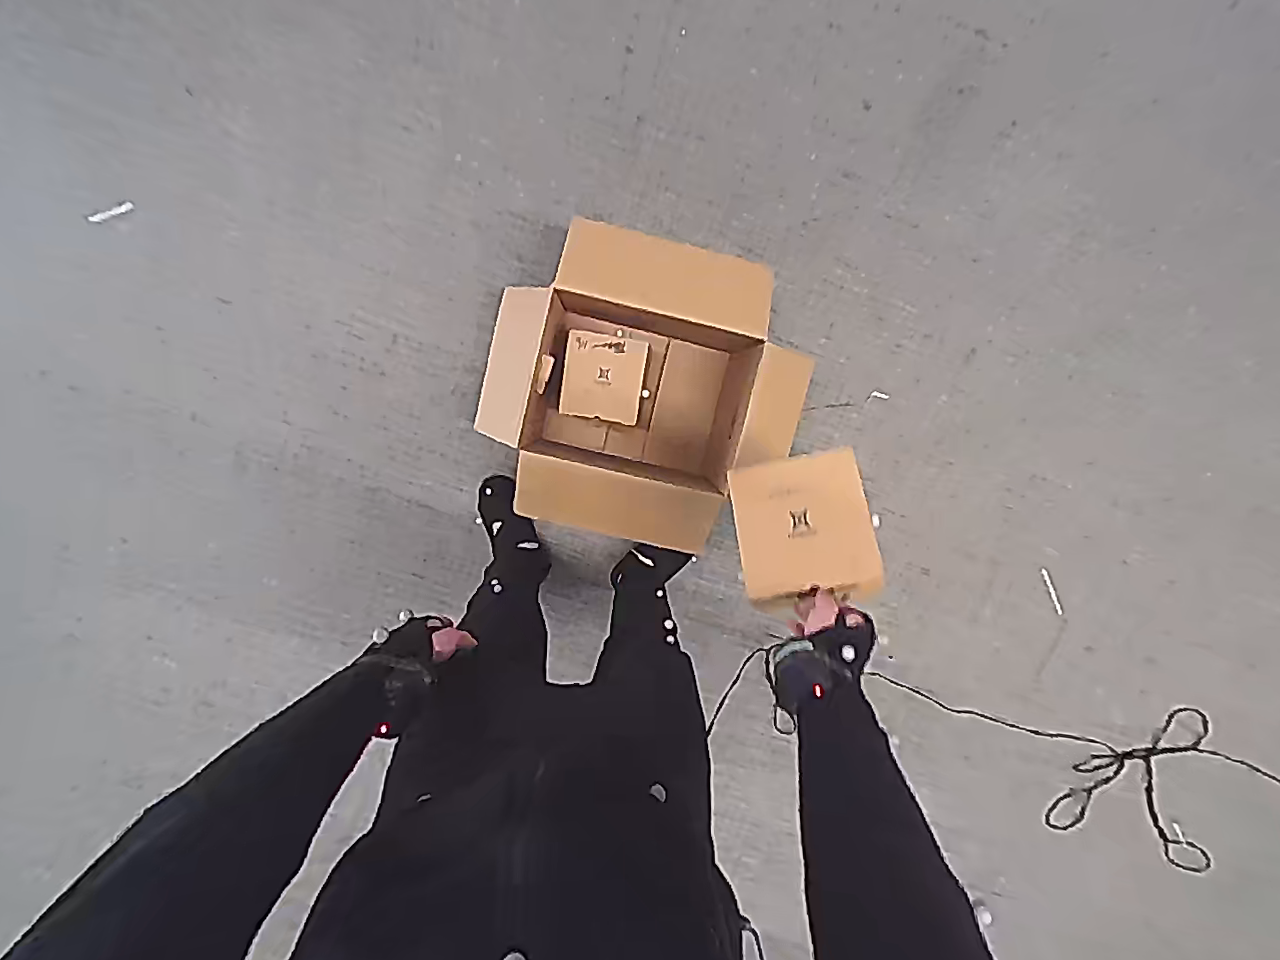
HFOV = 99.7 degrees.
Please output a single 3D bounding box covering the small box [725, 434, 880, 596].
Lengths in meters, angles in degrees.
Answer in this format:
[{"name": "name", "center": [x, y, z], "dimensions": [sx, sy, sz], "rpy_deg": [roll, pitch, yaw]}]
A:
[{"name": "small box", "center": [0.224, 0.062, 0.753], "dimensions": [0.168, 0.176, 0.179], "rpy_deg": [-12, 67, 14]}]
